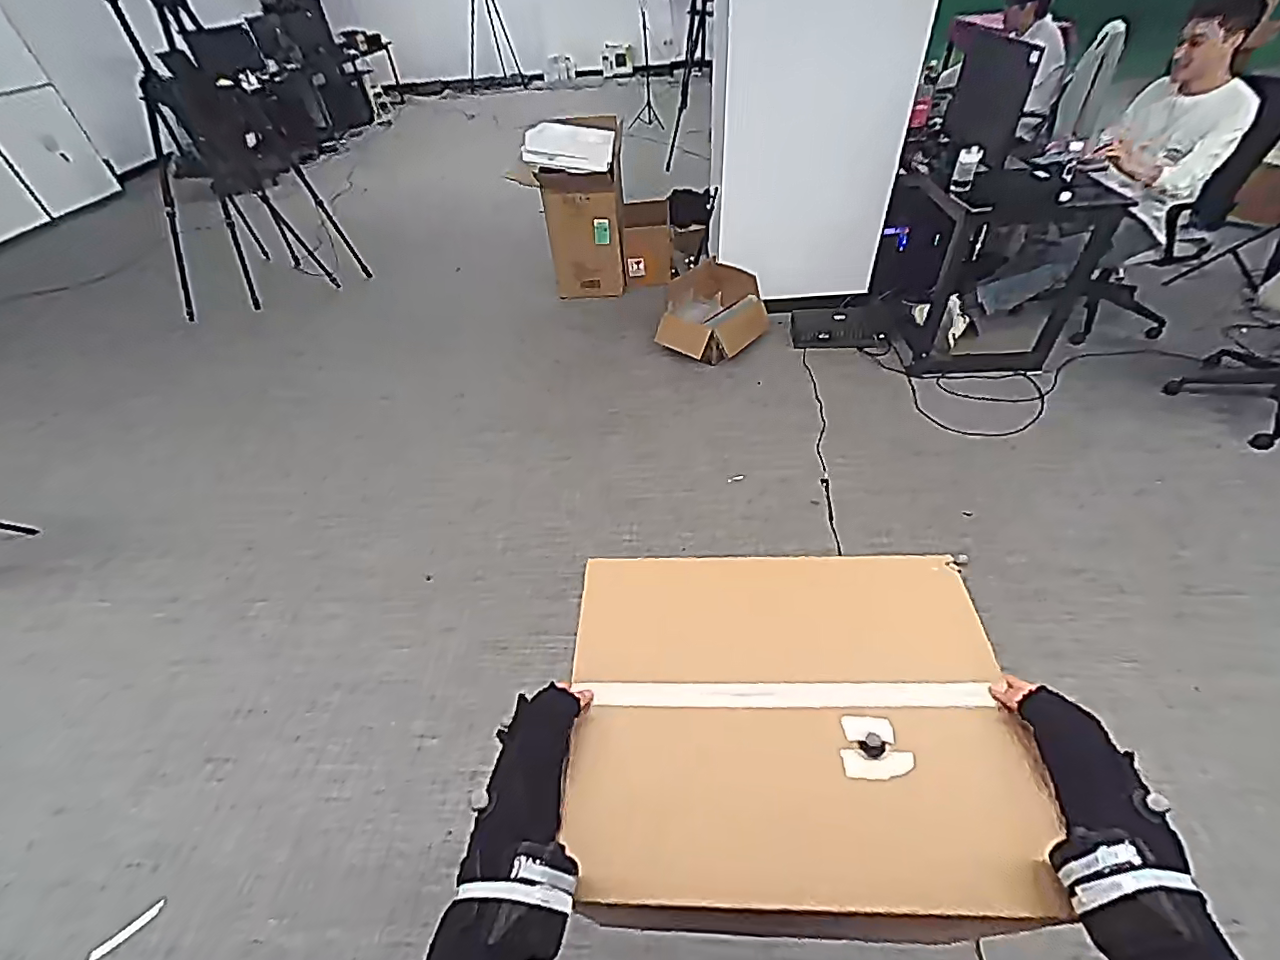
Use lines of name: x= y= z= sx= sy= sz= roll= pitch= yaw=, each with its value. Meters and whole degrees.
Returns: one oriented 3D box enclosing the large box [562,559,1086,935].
large box: x=0.145 y=0.307 z=0.618 sx=0.408 sy=0.320 sz=0.320 roll=-1 pitch=47 yaw=4
